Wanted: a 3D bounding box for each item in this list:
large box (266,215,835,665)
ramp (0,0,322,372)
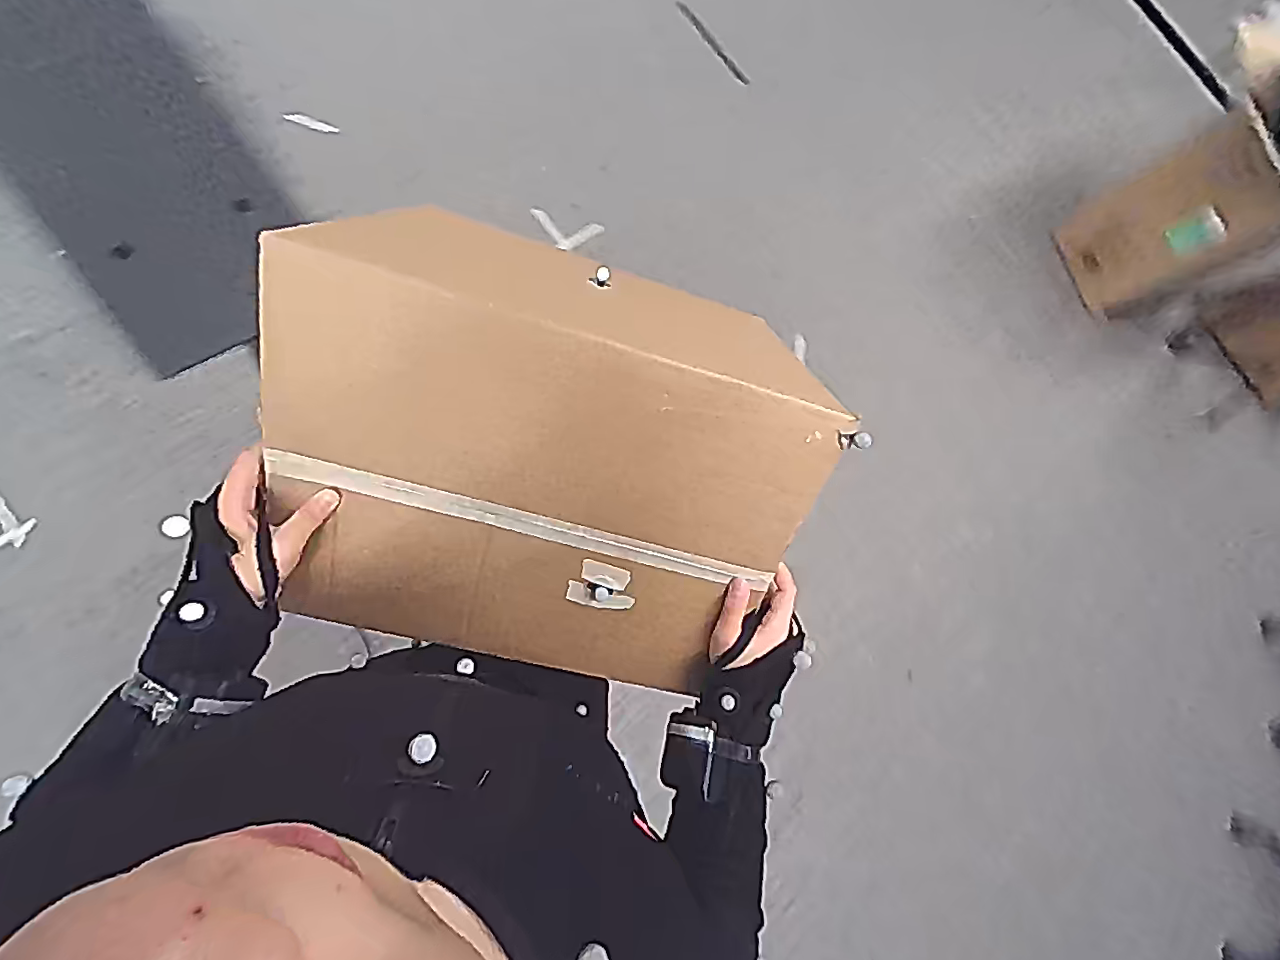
[{"bbox_3d":[-0.092,-0.053,0.569,0.408,0.320,0.320,13,30,-11],"label":"large box"},{"bbox_3d":[-1.224,-0.799,1.306,0.509,0.206,0.991,-38,89,-20],"label":"ramp"}]
